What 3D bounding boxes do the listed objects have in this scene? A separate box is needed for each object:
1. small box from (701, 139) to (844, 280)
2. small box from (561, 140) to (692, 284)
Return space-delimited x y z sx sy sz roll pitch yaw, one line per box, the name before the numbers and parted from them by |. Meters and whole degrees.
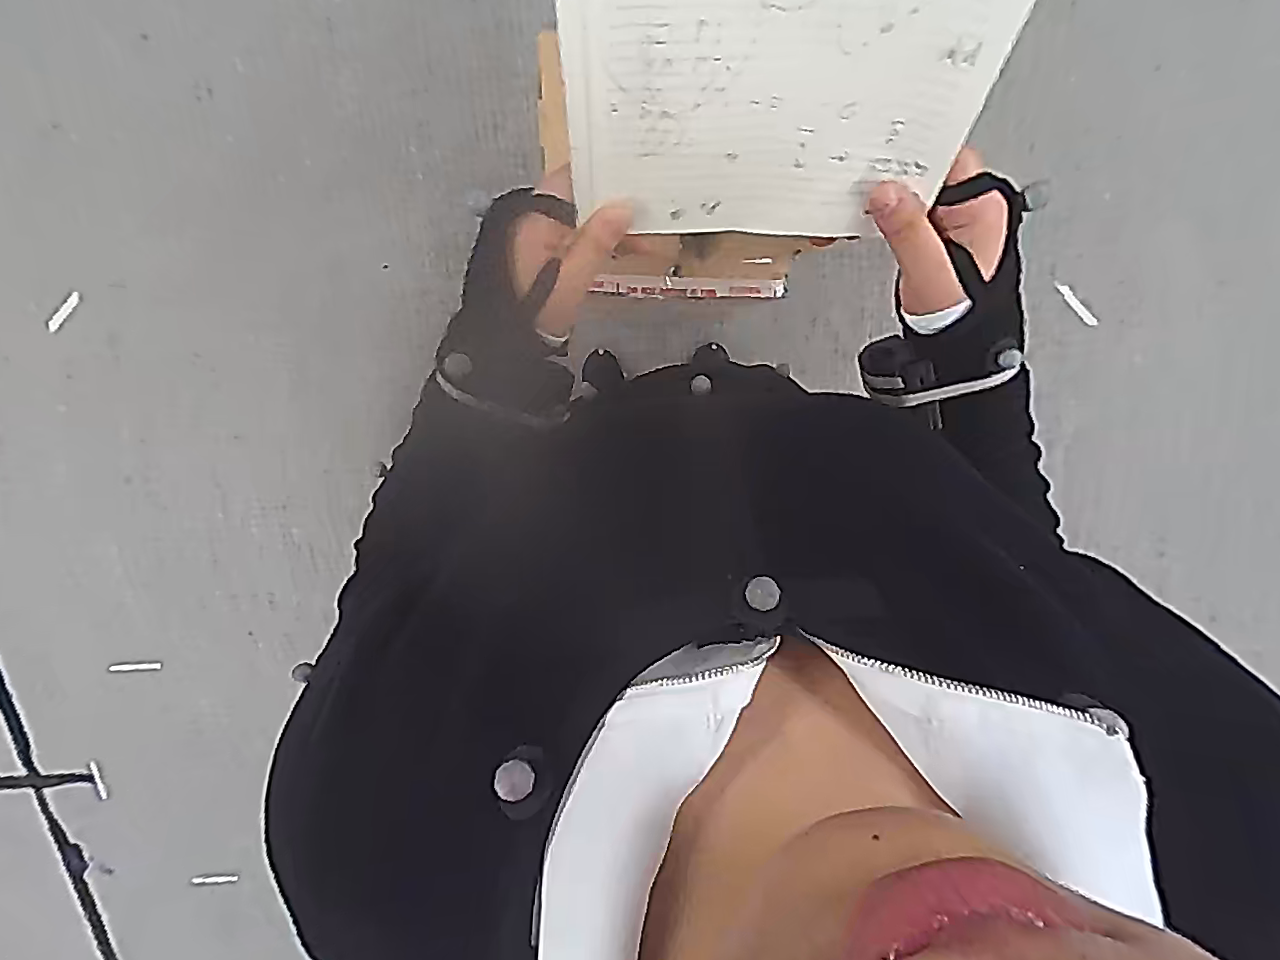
small box | 0.196 -0.410 0.842 0.179 0.176 0.168 -4 105 -1
small box | -0.021 -0.402 0.839 0.179 0.176 0.168 5 105 0
